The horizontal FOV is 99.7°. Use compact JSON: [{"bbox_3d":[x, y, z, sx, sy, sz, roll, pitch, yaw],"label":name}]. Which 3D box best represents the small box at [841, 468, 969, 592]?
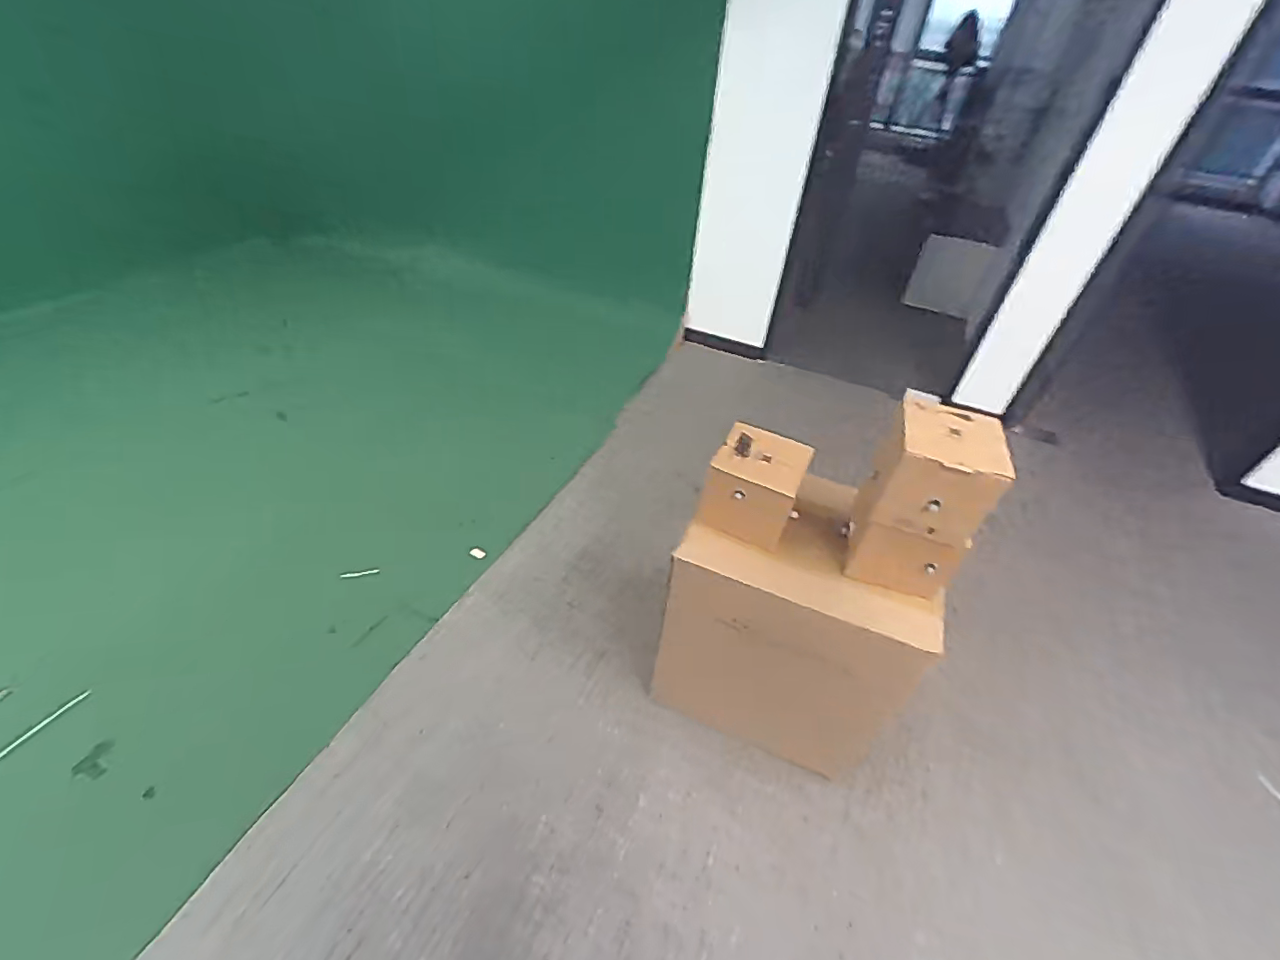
[{"bbox_3d":[0.519,0.100,1.083,0.179,0.176,0.168,12,43,10],"label":"small box"}]

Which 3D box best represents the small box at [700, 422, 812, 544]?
[{"bbox_3d":[0.242,0.009,1.154,0.179,0.176,0.168,22,47,17],"label":"small box"}]

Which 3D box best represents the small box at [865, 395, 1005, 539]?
[{"bbox_3d":[0.519,-0.021,0.973,0.168,0.176,0.179,17,45,11],"label":"small box"}]
